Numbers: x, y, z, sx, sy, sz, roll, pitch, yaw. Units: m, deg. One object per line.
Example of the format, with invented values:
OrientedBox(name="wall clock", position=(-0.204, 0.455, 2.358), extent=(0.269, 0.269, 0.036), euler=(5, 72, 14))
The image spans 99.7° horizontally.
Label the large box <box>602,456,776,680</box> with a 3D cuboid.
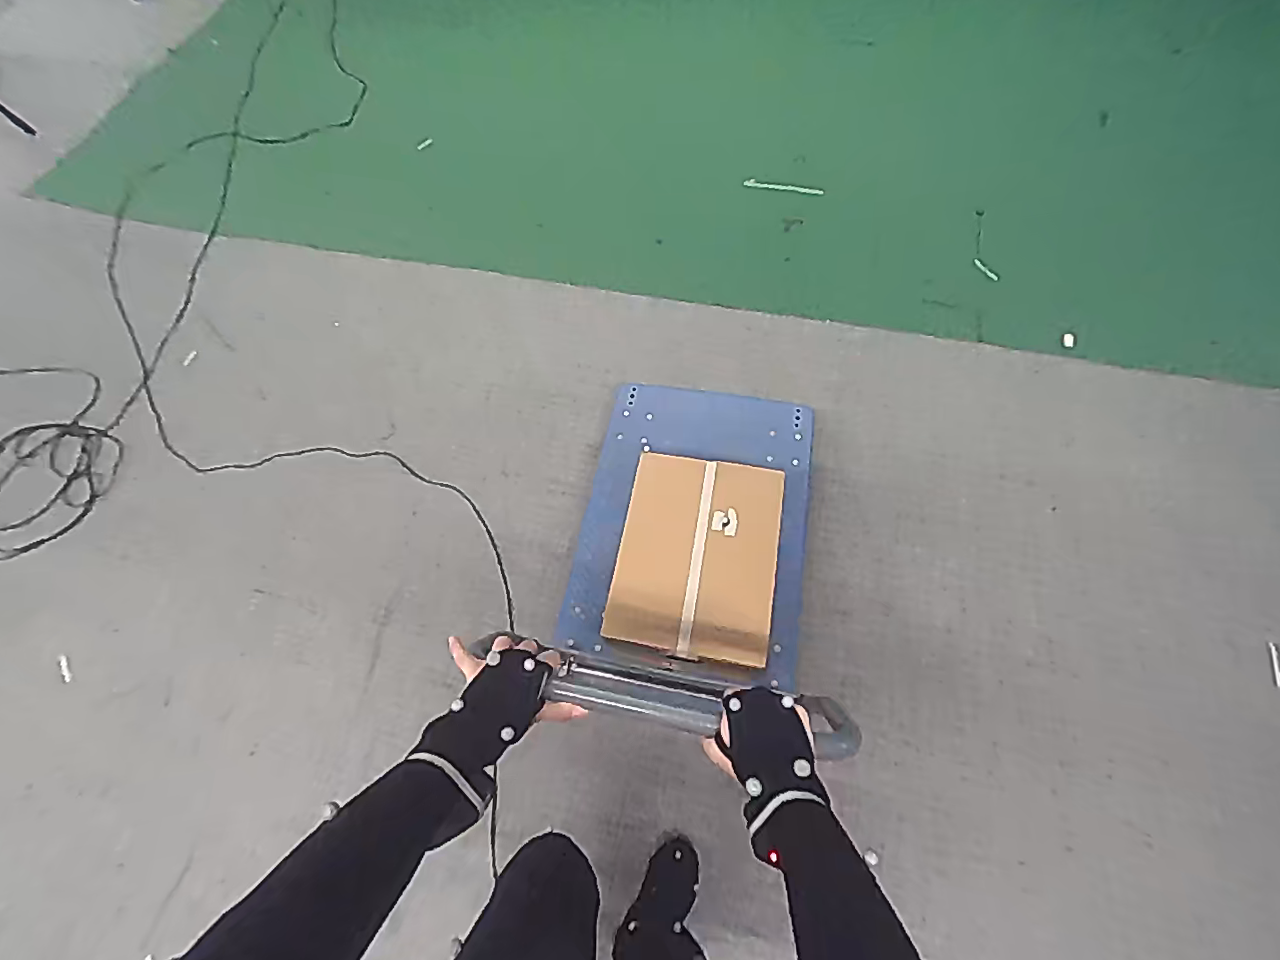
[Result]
OrientedBox(name="large box", position=(0.119, 0.208, 1.228), extent=(0.320, 0.320, 0.408), euler=(9, 65, 7))
